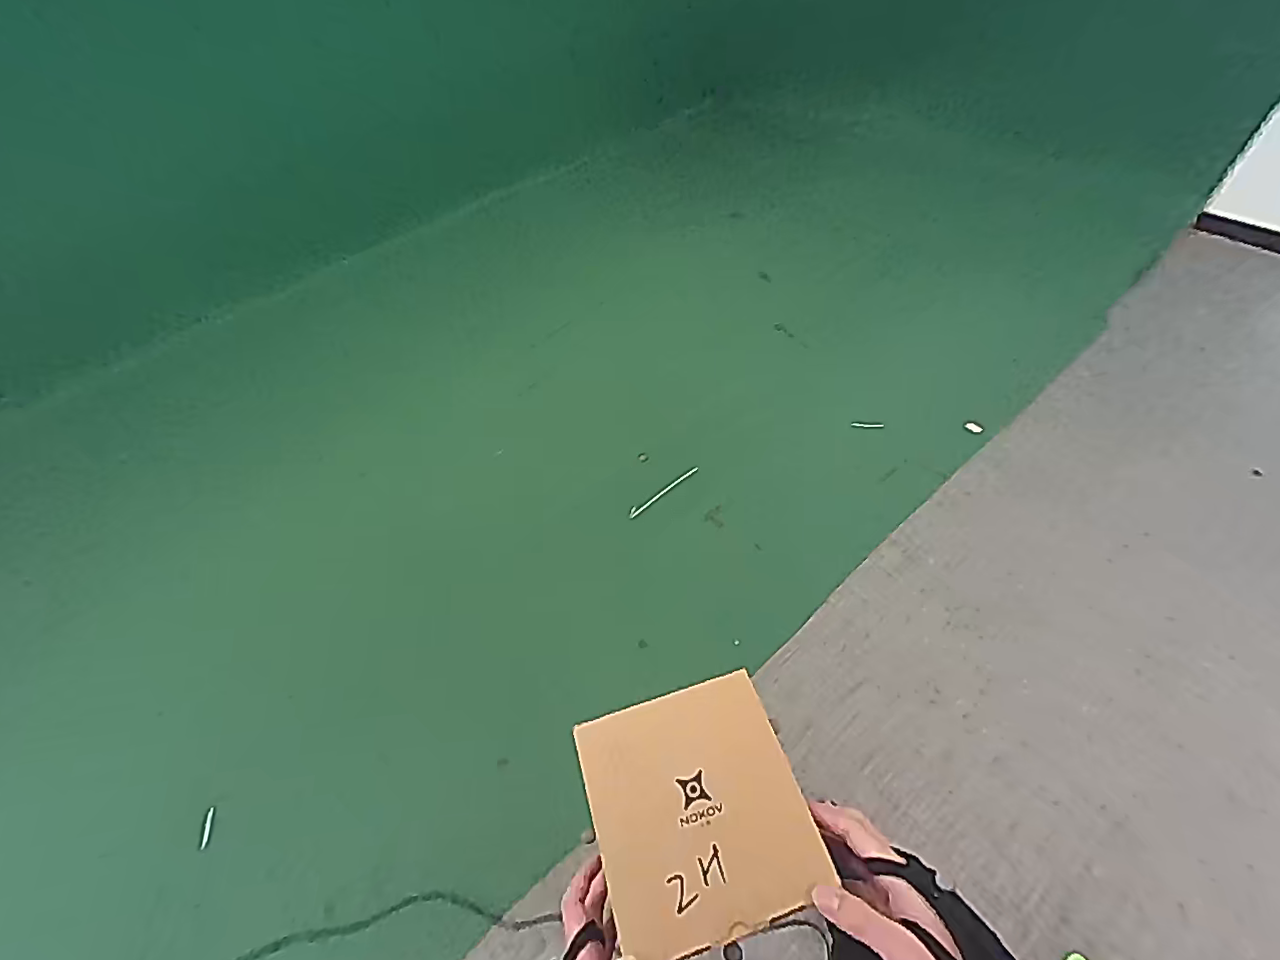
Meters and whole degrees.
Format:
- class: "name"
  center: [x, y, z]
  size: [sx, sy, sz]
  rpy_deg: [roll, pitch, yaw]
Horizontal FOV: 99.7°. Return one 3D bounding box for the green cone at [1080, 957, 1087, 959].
- class: "green cone"
  center: [0.885, 0.991, 0.906]
  size: [0.202, 0.368, 0.200]
  rpy_deg: [-36, 57, -18]
